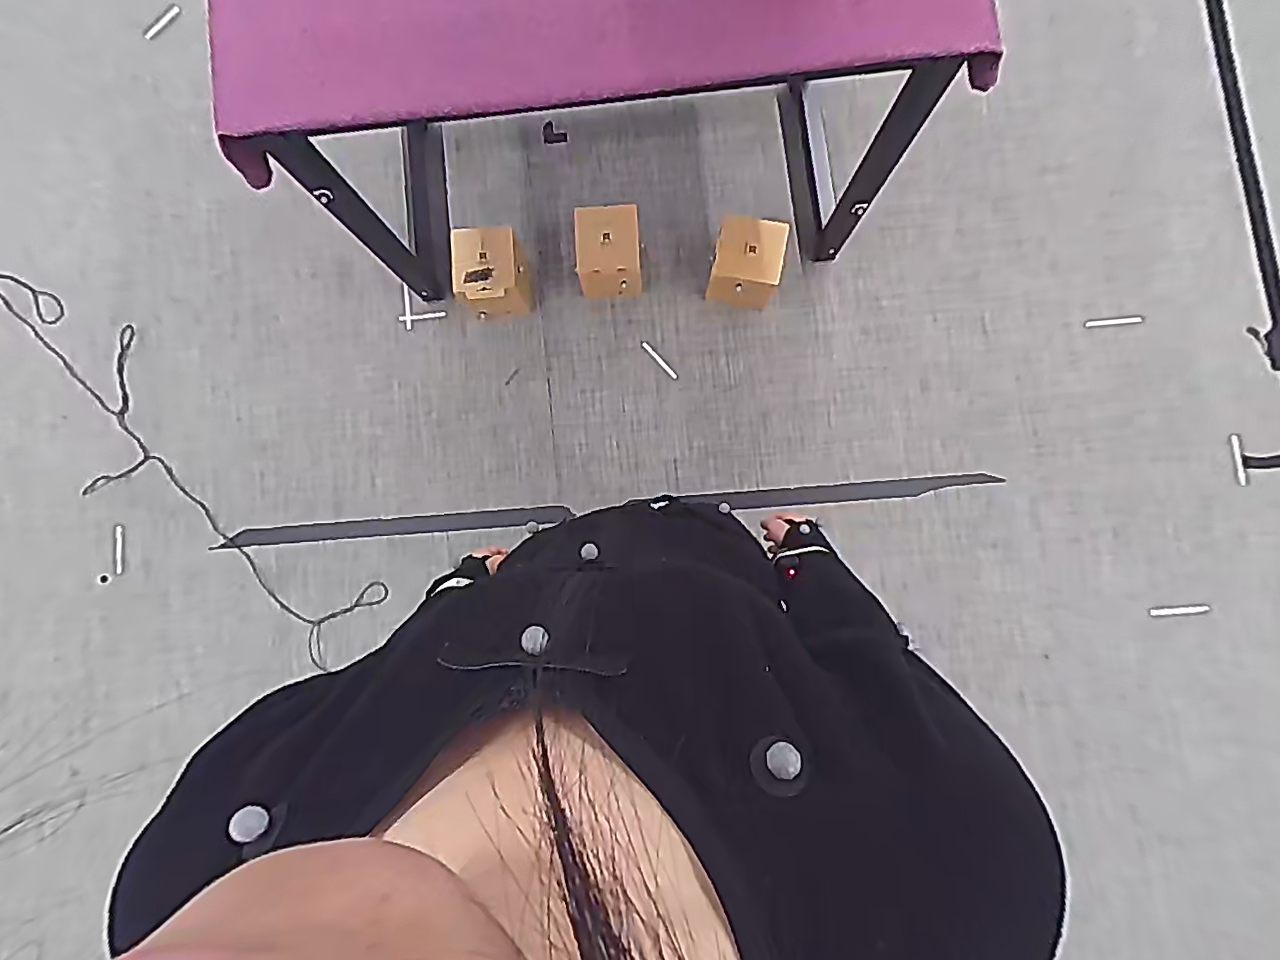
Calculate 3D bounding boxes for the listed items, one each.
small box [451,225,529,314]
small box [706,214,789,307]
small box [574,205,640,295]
[{"bbox_3d":[-0.406,-0.568,1.484,0.168,0.176,0.179,-4,85,1],"label":"small box"},{"bbox_3d":[0.286,-0.587,1.470,0.179,0.176,0.168,12,87,4],"label":"small box"},{"bbox_3d":[-0.086,-0.620,1.482,0.168,0.176,0.179,-4,85,0],"label":"small box"}]
